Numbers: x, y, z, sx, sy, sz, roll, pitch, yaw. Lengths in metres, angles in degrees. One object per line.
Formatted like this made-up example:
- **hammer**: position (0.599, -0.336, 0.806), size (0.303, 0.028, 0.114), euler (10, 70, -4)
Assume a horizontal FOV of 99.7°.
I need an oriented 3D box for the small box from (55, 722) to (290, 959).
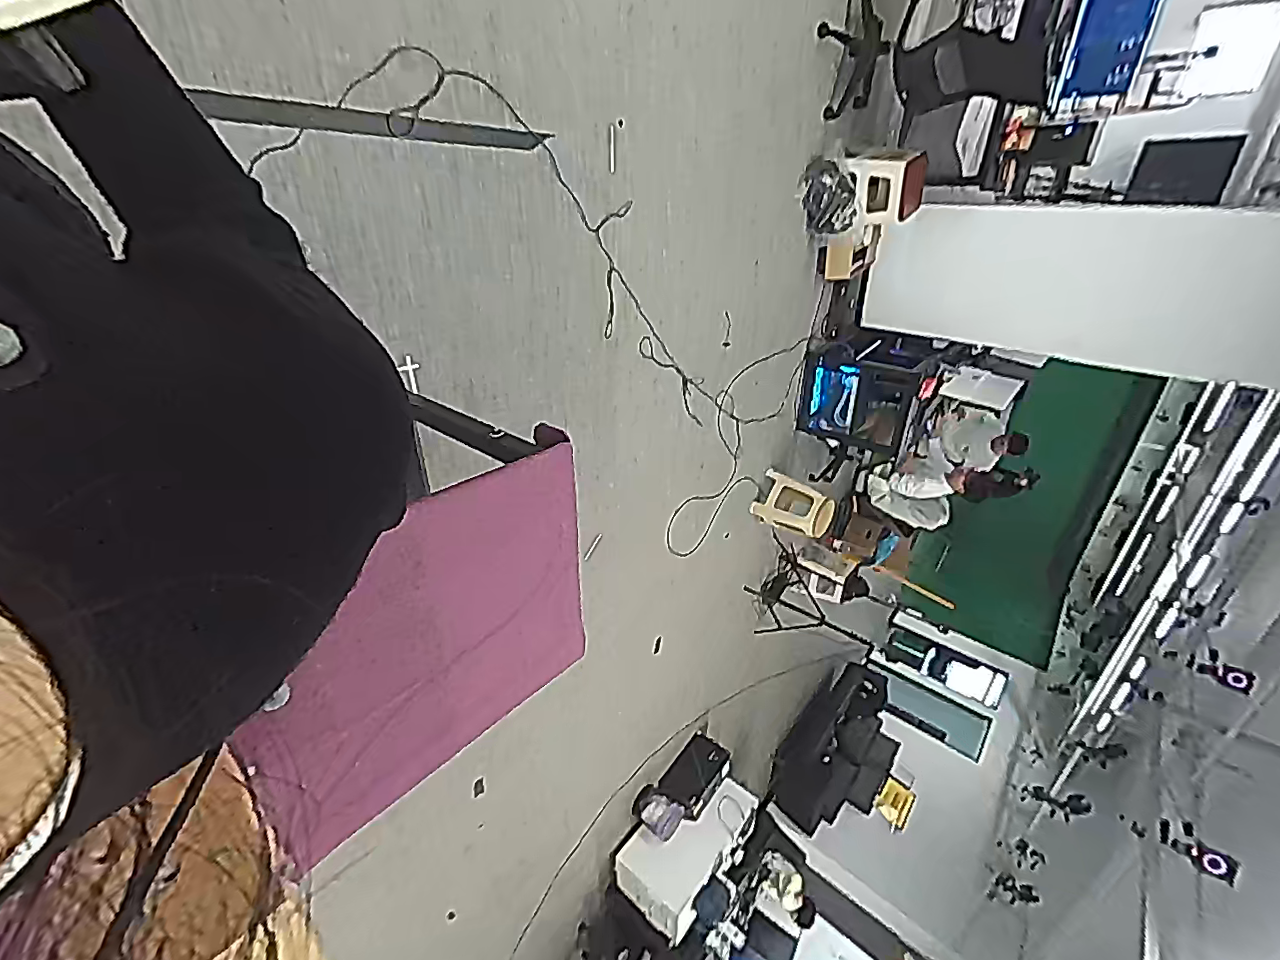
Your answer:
- **small box**: position (-0.598, 0.461, 0.696), size (0.179, 0.176, 0.168), euler (-30, 131, -41)
